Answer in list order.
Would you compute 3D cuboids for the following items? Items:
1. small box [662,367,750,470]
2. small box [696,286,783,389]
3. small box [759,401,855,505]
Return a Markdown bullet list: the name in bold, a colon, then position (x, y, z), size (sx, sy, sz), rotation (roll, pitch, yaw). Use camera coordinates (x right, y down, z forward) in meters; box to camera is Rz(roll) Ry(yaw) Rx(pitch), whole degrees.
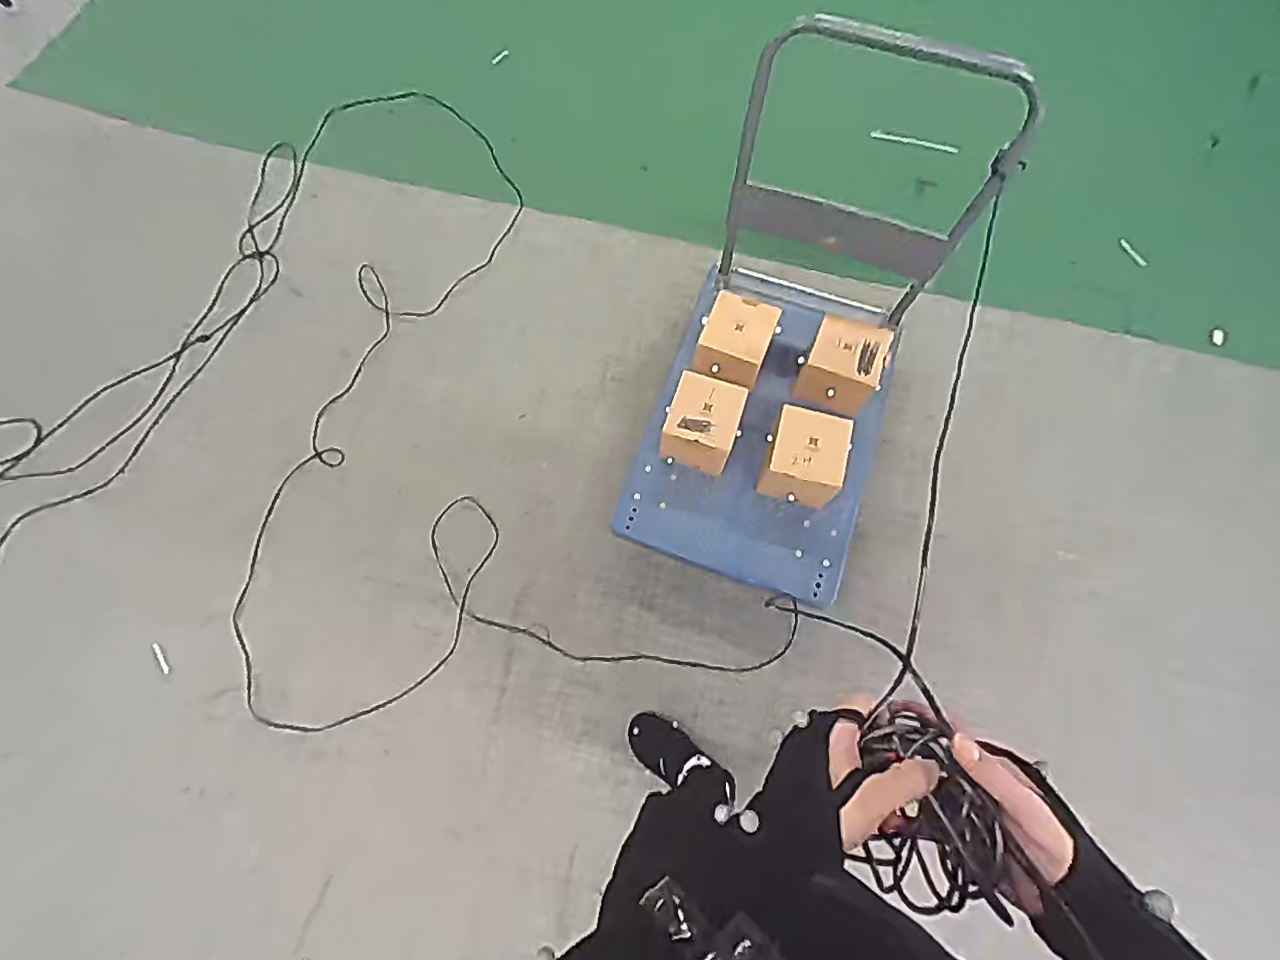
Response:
- **small box**: position (0.156, -0.144, 1.332), size (0.168, 0.176, 0.179), rotation (18, 72, 5)
- **small box**: position (0.251, -0.361, 1.407), size (0.168, 0.176, 0.179), rotation (21, 72, 7)
- **small box**: position (0.395, -0.060, 1.304), size (0.168, 0.176, 0.179), rotation (16, 72, 6)
